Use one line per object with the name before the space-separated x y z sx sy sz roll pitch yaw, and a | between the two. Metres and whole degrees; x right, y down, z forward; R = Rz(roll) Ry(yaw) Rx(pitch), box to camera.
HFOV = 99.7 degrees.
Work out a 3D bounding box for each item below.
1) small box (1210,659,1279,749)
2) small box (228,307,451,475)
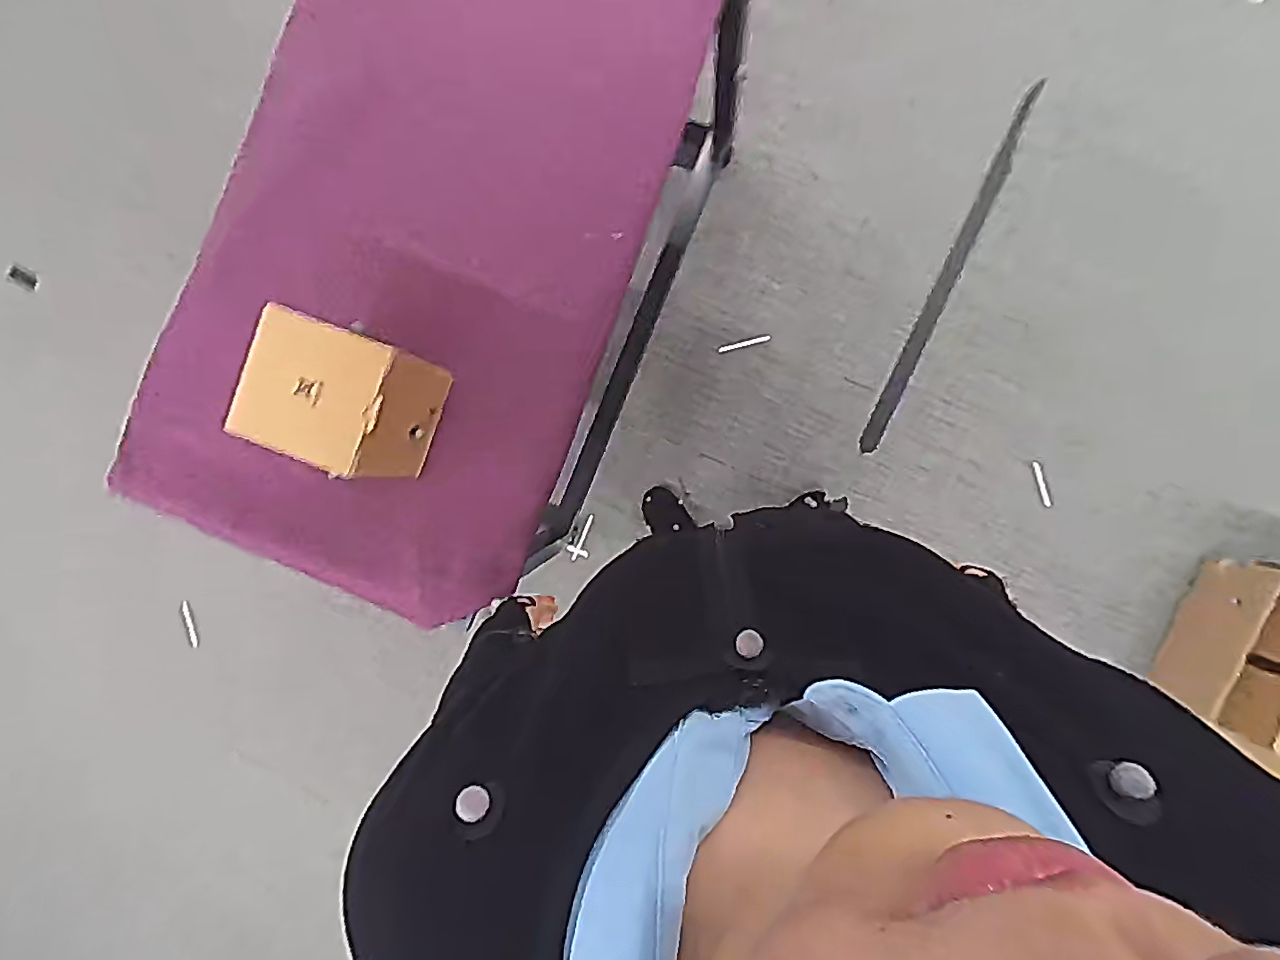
small box | 1.507 0.537 1.254 0.179 0.176 0.168 18 94 5
small box | -0.392 -0.108 0.735 0.179 0.176 0.168 20 92 4
